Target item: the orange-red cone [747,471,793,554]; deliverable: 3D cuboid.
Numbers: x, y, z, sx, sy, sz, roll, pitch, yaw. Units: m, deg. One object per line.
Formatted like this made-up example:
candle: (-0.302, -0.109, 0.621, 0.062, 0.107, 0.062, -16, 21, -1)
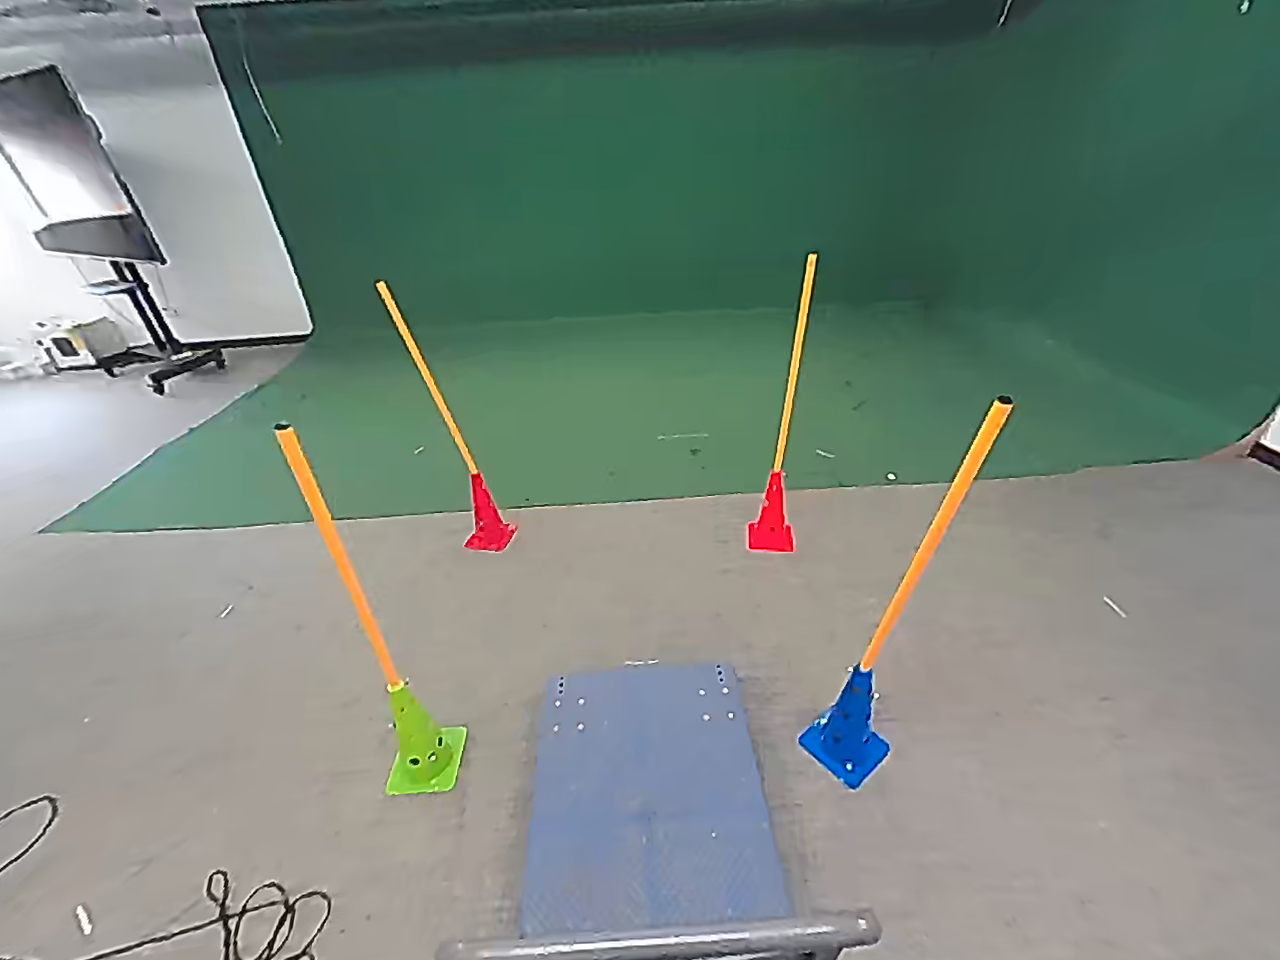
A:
orange-red cone: (0.571, 0.123, 2.340, 0.198, 0.360, 0.199, 2, 33, 10)
